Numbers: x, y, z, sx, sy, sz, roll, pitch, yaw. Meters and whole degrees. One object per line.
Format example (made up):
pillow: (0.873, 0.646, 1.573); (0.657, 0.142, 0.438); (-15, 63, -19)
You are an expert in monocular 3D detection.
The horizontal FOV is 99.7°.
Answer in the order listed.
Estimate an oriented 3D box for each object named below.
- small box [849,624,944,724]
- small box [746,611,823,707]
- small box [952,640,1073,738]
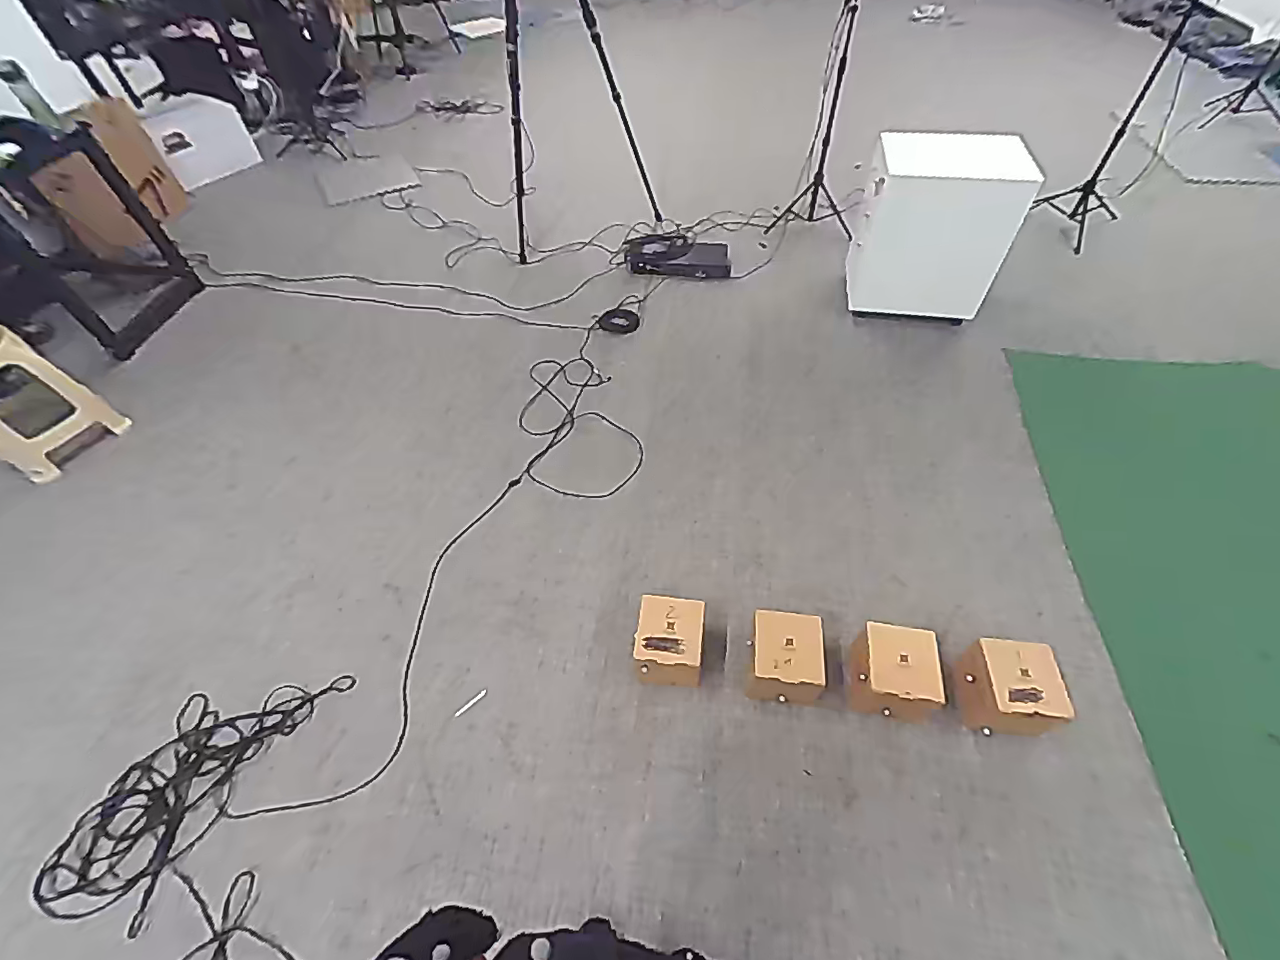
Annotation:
small box: (0.629, 0.486, 1.353); (0.168, 0.176, 0.179); (7, 53, 8)
small box: (0.364, 0.458, 1.384); (0.168, 0.176, 0.179); (5, 53, 8)
small box: (0.895, 0.513, 1.318); (0.168, 0.176, 0.179); (4, 52, 6)
